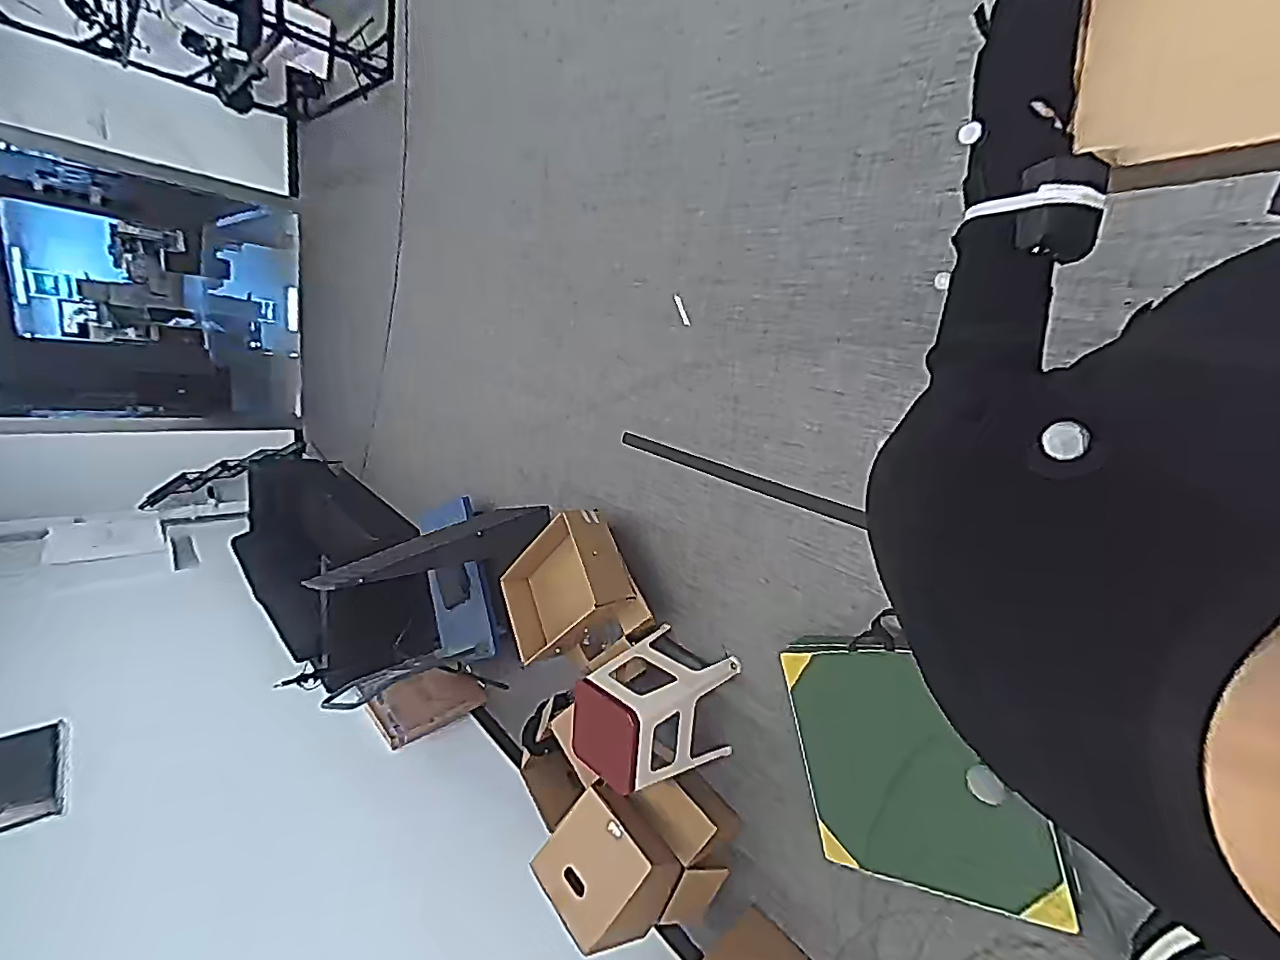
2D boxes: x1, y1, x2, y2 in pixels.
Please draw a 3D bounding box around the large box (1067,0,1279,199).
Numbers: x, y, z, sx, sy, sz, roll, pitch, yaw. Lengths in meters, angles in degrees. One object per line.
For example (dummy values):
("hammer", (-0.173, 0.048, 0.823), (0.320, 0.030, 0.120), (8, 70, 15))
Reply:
("large box", (0.571, -0.399, 0.356), (0.408, 0.320, 0.320), (13, 117, 42))
